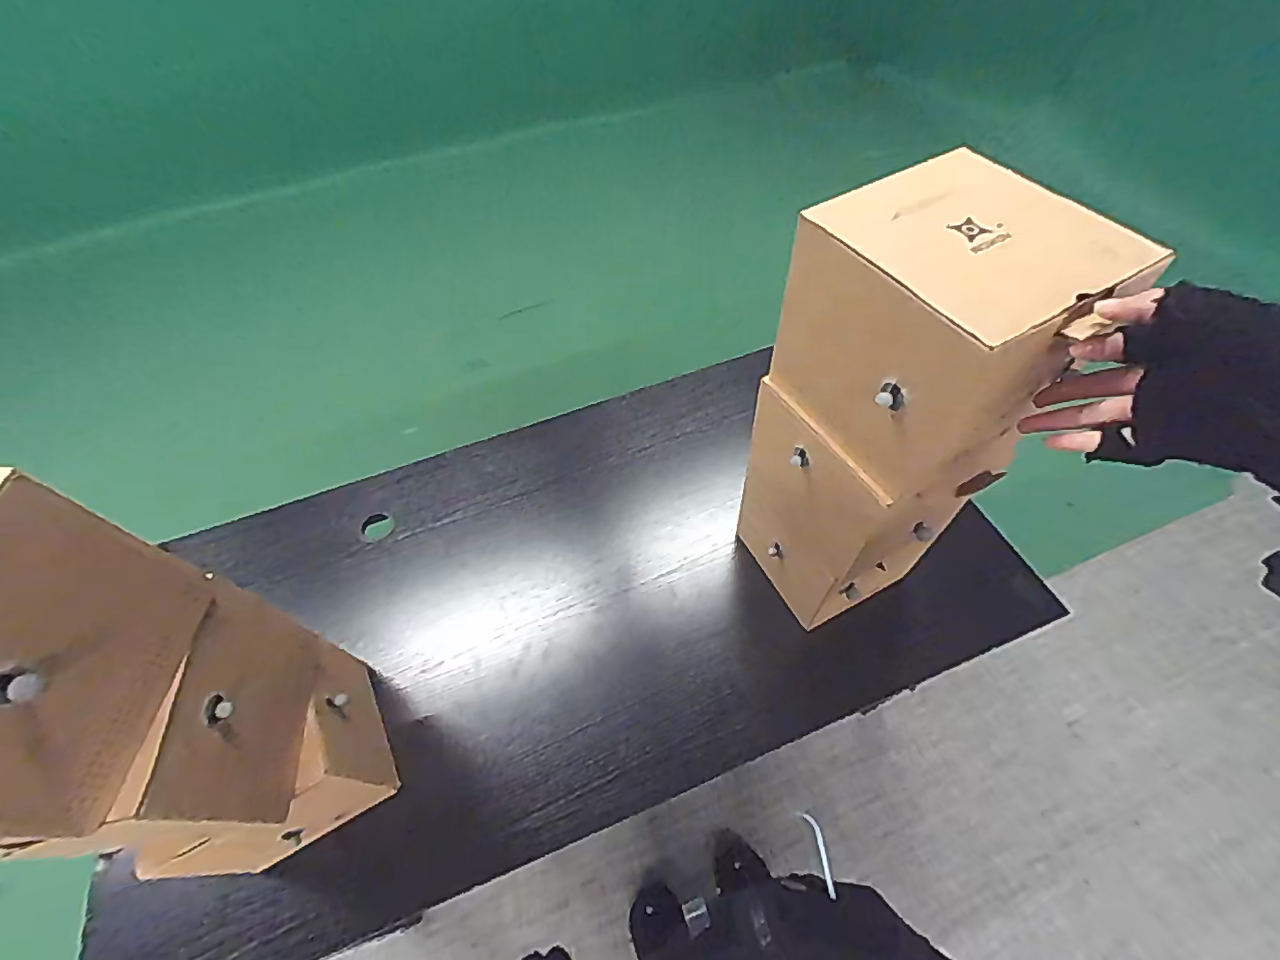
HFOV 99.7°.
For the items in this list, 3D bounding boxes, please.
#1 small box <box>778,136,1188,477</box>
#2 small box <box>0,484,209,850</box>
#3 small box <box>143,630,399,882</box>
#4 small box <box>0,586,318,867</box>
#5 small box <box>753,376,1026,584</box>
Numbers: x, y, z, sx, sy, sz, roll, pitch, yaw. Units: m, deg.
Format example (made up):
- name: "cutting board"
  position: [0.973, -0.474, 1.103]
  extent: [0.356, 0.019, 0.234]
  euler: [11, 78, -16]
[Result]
- name: "small box"
  position: [0.232, -0.125, 0.423]
  extent: [0.168, 0.176, 0.179]
  euler: [-27, 58, -13]
- name: "small box"
  position: [-0.421, 0.117, 0.326]
  extent: [0.168, 0.176, 0.179]
  euler: [1, 58, 3]
- name: "small box"
  position: [-0.397, 0.302, 0.597]
  extent: [0.168, 0.176, 0.179]
  euler: [-27, 60, -14]
- name: "small box"
  position: [-0.408, 0.212, 0.460]
  extent: [0.168, 0.176, 0.179]
  euler: [-8, 56, -3]
- name: "small box"
  position: [0.237, -0.022, 0.571]
  extent: [0.168, 0.176, 0.179]
  euler: [-27, 58, -13]
